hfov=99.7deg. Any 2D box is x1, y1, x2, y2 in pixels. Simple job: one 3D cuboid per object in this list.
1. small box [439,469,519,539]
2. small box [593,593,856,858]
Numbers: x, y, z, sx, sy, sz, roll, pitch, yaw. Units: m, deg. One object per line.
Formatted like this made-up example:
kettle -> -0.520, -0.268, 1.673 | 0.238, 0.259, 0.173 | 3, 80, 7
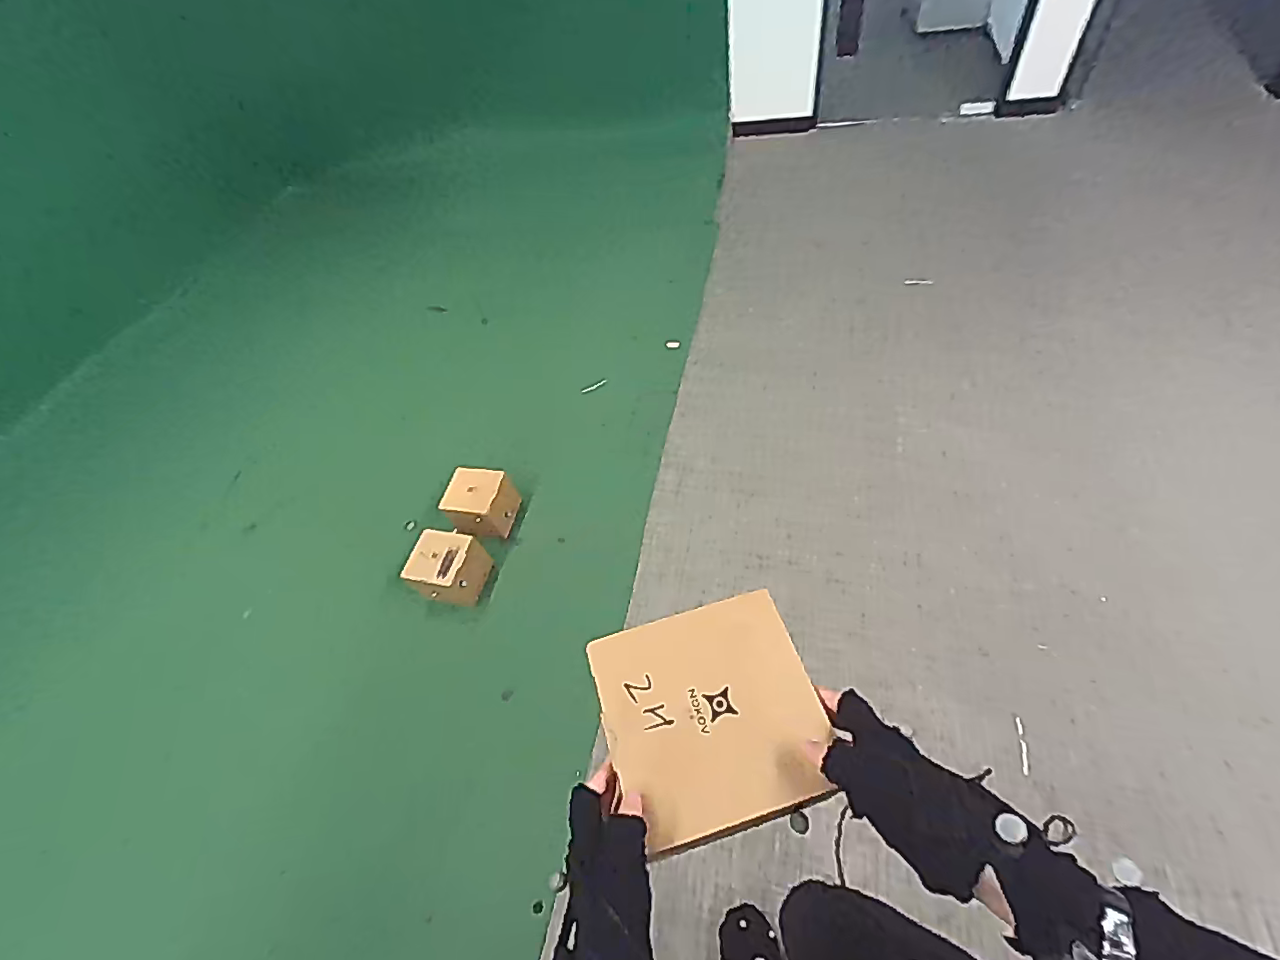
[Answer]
small box -> -0.526, 0.082, 1.794 | 0.179, 0.176, 0.168 | 5, 55, 13
small box -> 0.065, 0.232, 0.505 | 0.179, 0.176, 0.168 | -15, 54, -6
